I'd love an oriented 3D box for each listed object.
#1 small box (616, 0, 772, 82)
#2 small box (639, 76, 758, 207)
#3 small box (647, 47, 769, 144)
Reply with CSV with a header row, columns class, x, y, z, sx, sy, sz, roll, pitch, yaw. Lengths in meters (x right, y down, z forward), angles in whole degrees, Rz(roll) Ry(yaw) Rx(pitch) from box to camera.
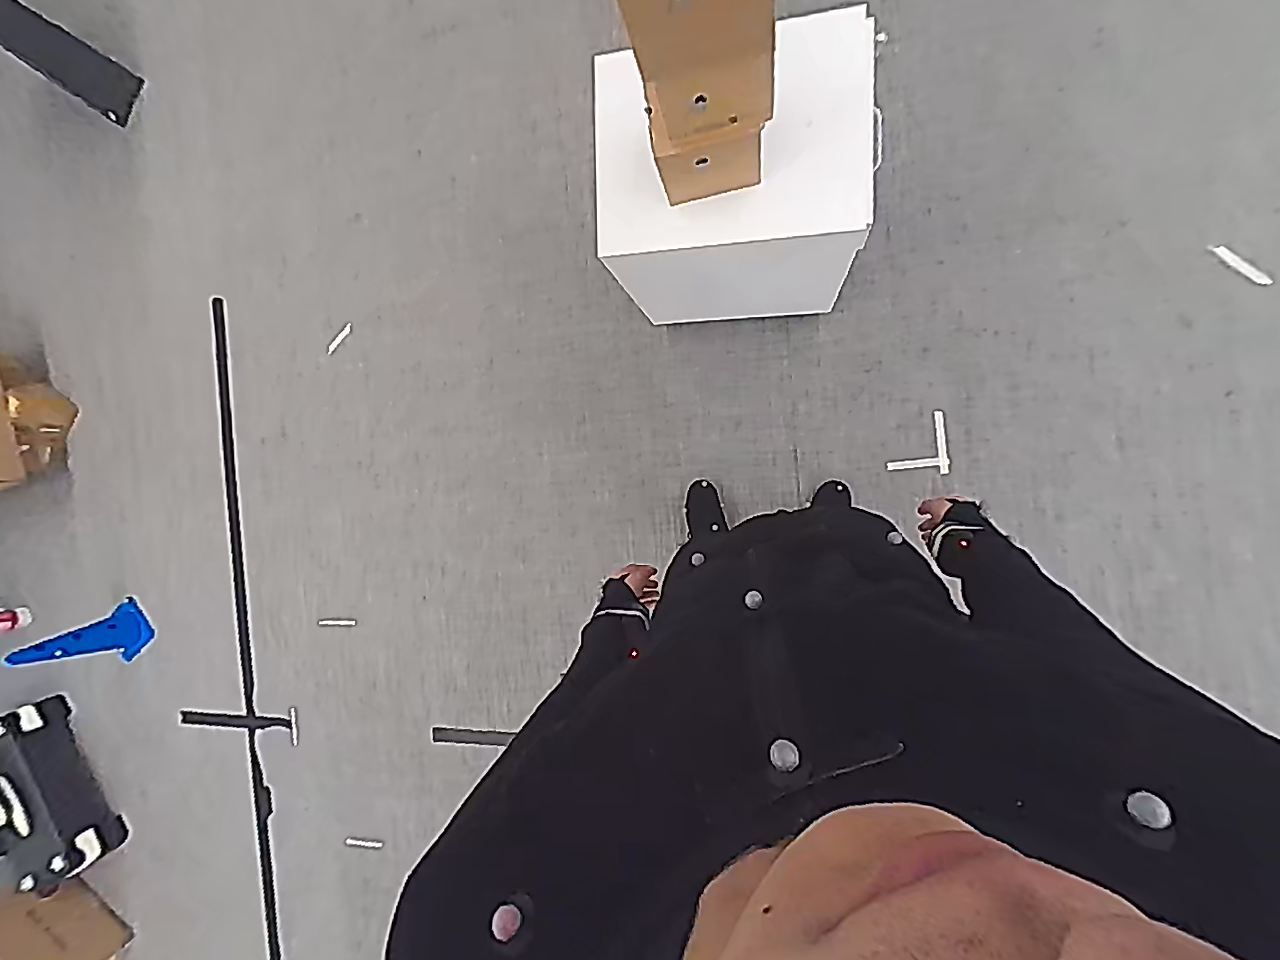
class,x,y,z,sx,sy,sz,roll,pitch,yaw
small box,0.059,-0.610,0.629,0.179,0.176,0.168,-4,90,13
small box,0.110,-0.612,0.953,0.179,0.176,0.168,-8,90,12
small box,0.097,-0.627,0.789,0.168,0.176,0.179,-7,89,13
